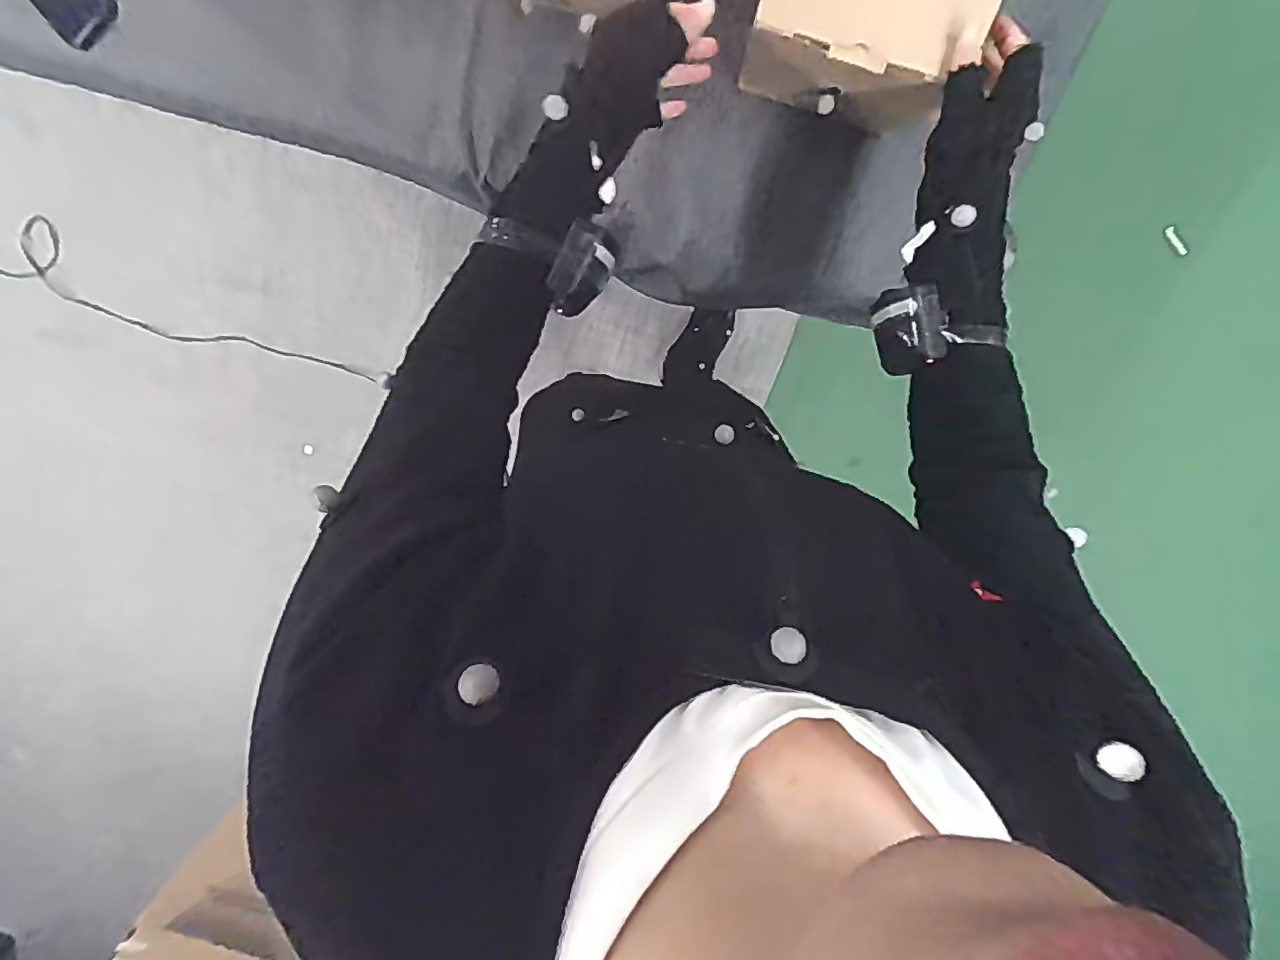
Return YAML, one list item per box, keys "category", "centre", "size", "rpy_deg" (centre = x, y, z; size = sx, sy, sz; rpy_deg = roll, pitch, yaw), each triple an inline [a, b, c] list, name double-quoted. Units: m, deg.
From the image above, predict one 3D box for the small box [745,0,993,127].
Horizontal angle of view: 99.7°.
- category: "small box"
  centre: [0.192, -0.422, 0.446]
  size: [0.168, 0.176, 0.179]
  rpy_deg: [17, 114, -1]

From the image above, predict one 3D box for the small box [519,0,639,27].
- category: "small box"
  centre: [-0.073, -0.519, 0.435]
  size: [0.168, 0.176, 0.179]
  rpy_deg: [15, 113, 1]
